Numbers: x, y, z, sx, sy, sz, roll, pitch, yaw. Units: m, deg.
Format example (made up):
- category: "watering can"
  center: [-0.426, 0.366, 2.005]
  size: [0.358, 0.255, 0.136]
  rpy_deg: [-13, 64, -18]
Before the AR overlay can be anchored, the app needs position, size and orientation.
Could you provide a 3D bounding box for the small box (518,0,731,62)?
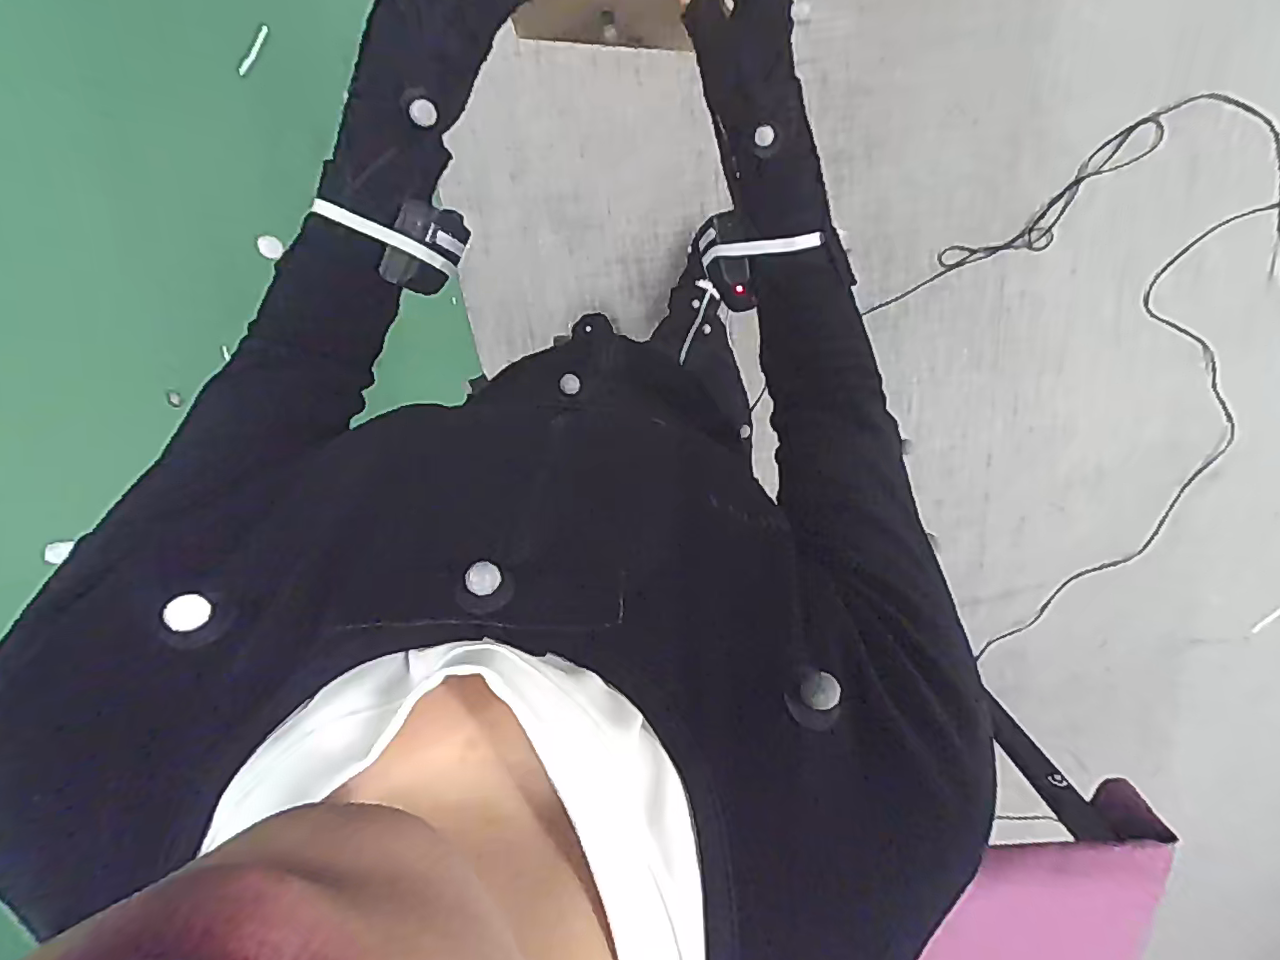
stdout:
- category: "small box"
  center: [-0.012, -0.440, 0.384]
  size: [0.168, 0.176, 0.179]
  rpy_deg: [1, 110, -5]
